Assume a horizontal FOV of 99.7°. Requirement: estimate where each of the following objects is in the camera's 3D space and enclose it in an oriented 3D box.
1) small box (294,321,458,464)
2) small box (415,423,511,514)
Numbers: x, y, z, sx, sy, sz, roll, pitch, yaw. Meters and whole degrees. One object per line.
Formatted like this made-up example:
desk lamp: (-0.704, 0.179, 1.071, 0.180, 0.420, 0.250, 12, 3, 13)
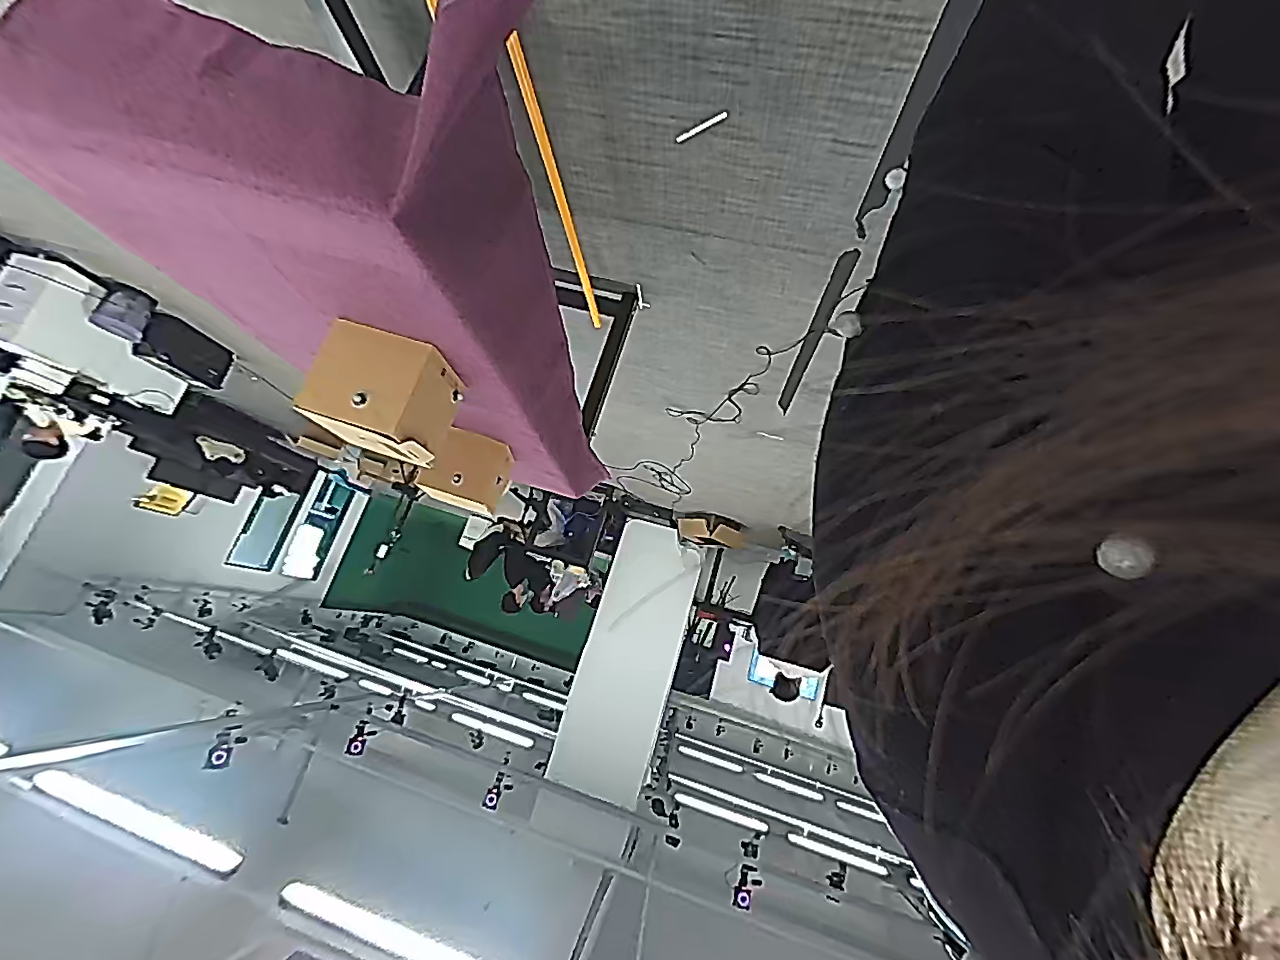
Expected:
small box: (-0.435, -0.147, 0.929, 0.179, 0.176, 0.168, 17, 166, 6)
small box: (-0.439, -0.028, 1.378, 0.179, 0.176, 0.168, 19, 165, -3)
